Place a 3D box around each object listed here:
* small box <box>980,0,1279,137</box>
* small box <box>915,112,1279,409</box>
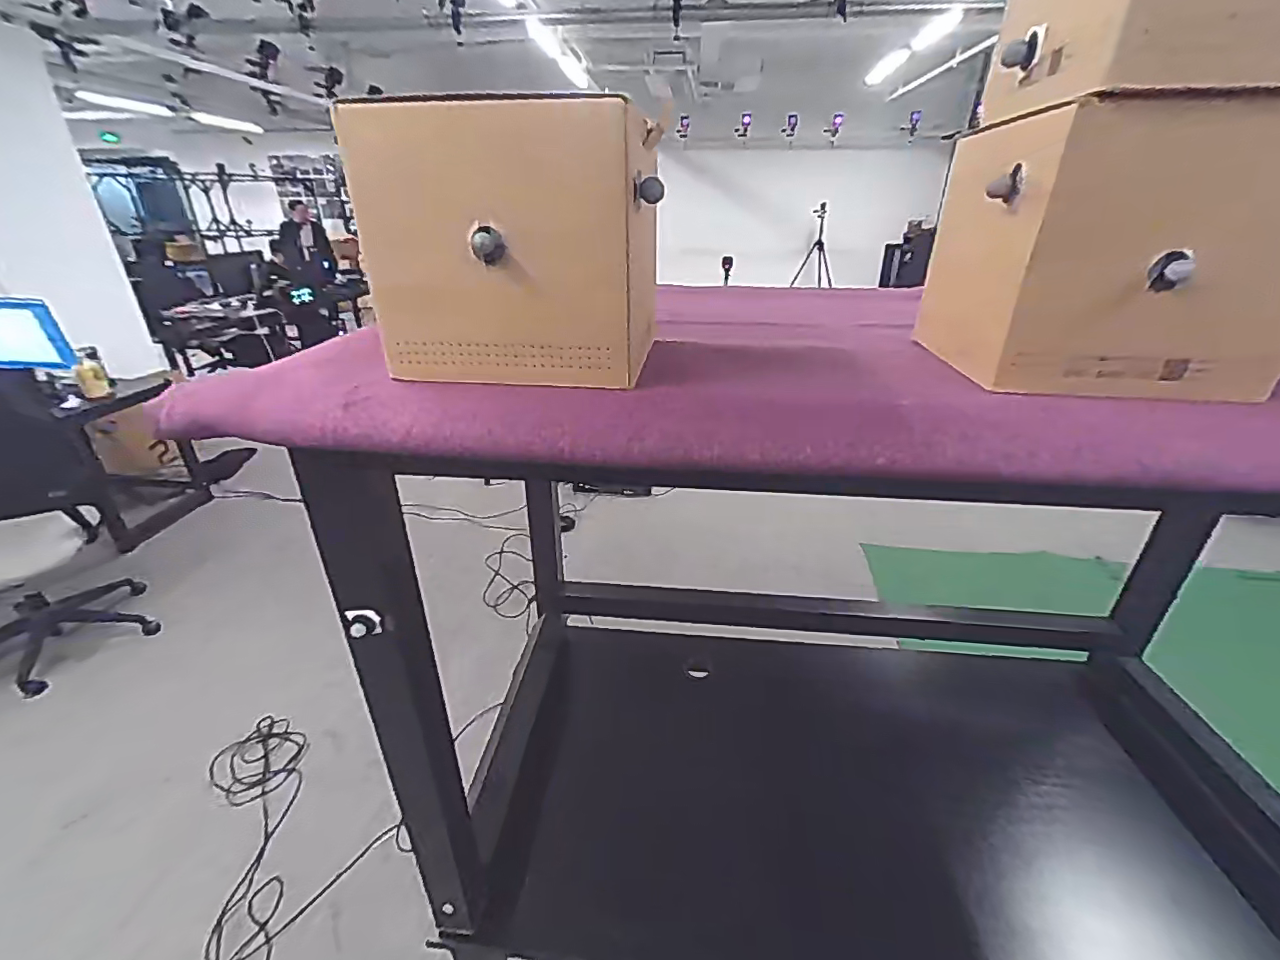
[{"bbox_3d":[0.338,-0.297,0.311,0.179,0.176,0.168,3,26,7],"label":"small box"},{"bbox_3d":[0.328,-0.157,0.396,0.168,0.176,0.179,5,27,7],"label":"small box"}]
